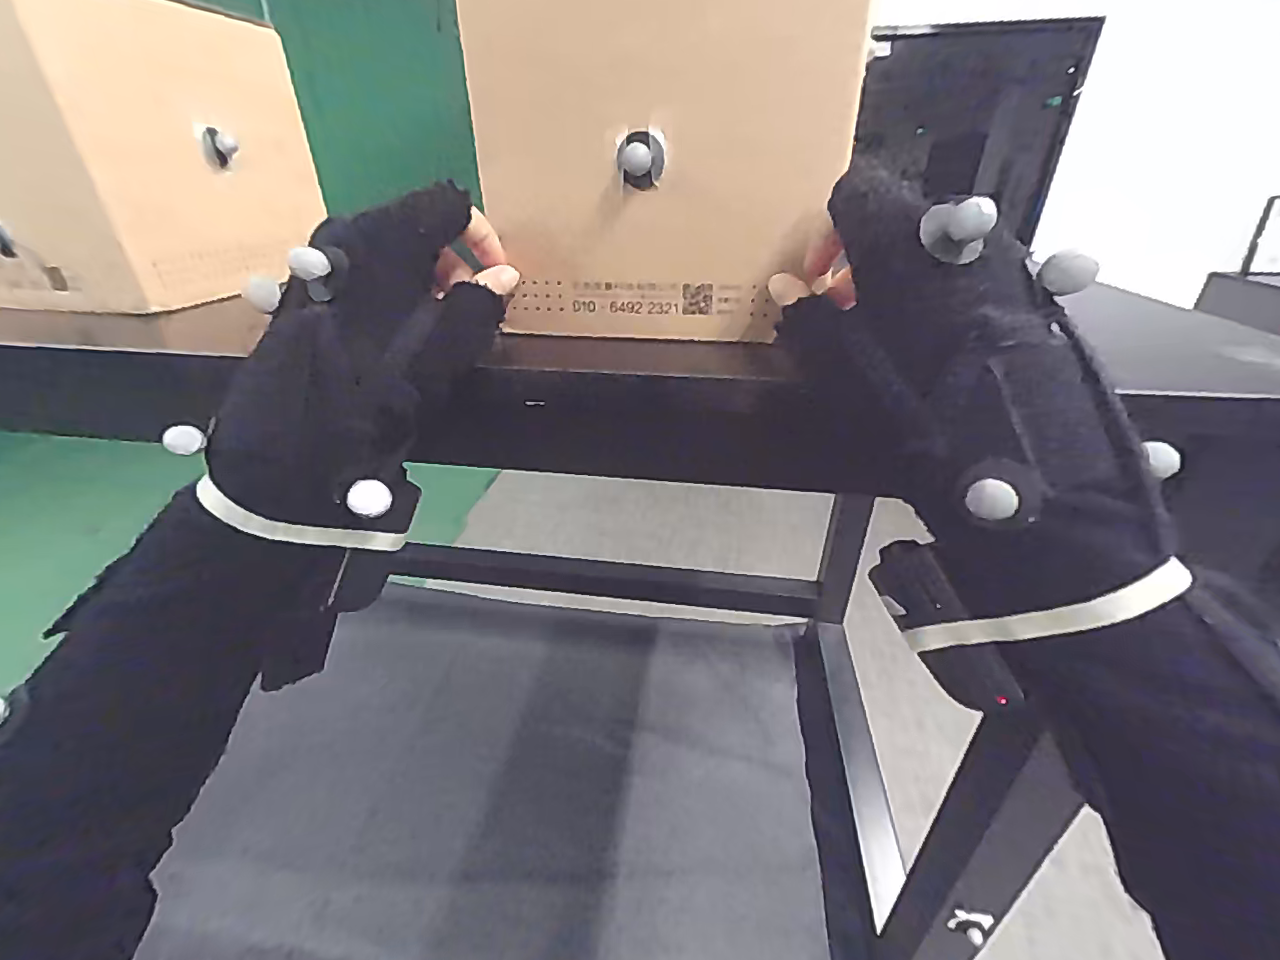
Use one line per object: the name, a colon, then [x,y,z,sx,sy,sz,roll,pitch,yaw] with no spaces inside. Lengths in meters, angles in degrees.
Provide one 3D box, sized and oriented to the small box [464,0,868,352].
small box: [0.024,-0.179,0.311,0.168,0.176,0.179,5,30,8]
